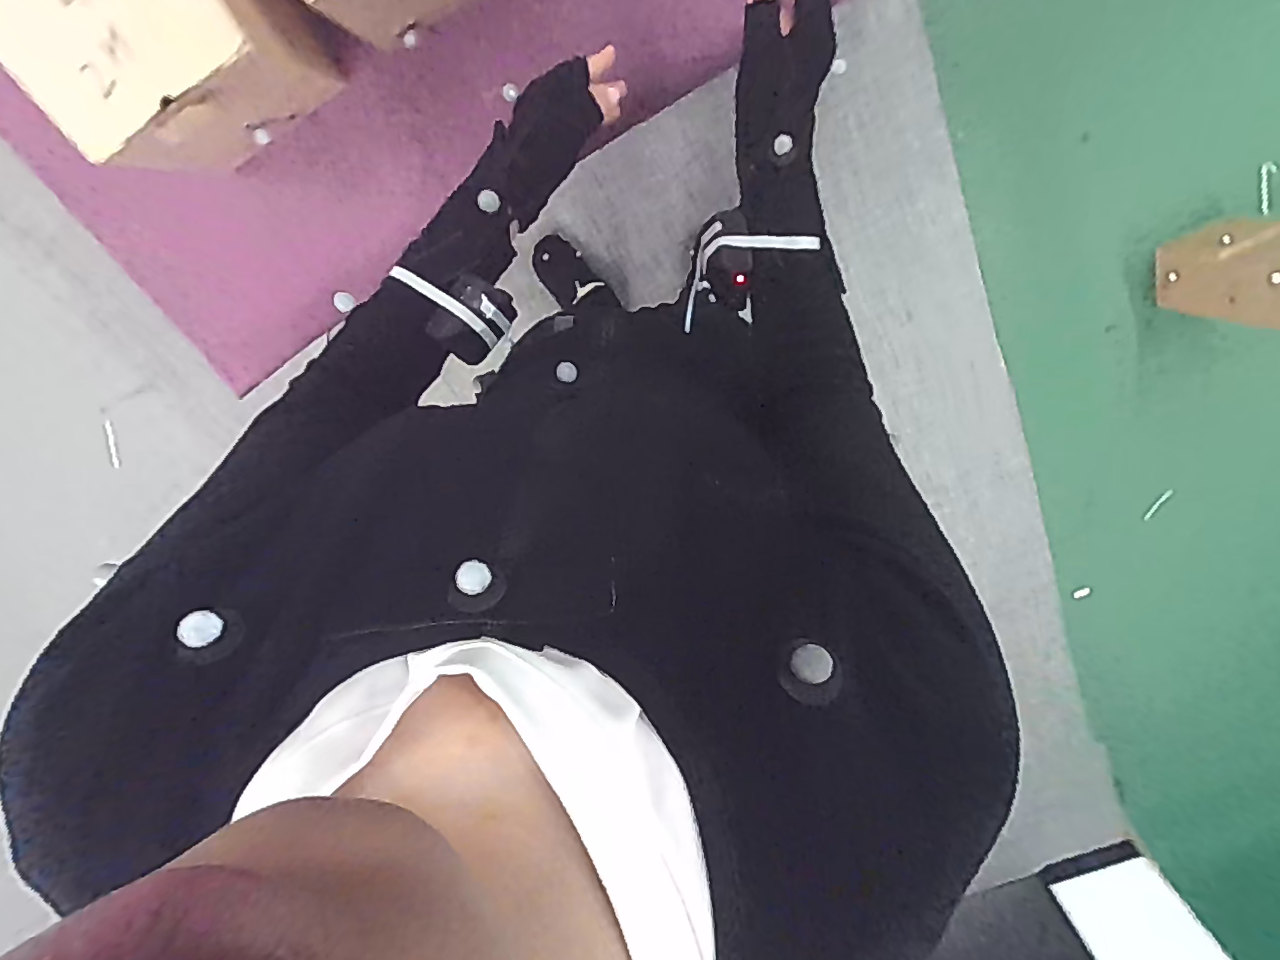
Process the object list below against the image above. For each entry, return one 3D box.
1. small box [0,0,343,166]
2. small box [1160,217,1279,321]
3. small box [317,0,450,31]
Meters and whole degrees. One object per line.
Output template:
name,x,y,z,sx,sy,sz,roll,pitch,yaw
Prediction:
small box,-0.399,-0.391,0.451,0.168,0.176,0.179,-26,117,11
small box,1.416,-0.513,1.300,0.179,0.176,0.168,-24,116,10
small box,-0.206,-0.489,0.414,0.168,0.176,0.179,-25,119,14
